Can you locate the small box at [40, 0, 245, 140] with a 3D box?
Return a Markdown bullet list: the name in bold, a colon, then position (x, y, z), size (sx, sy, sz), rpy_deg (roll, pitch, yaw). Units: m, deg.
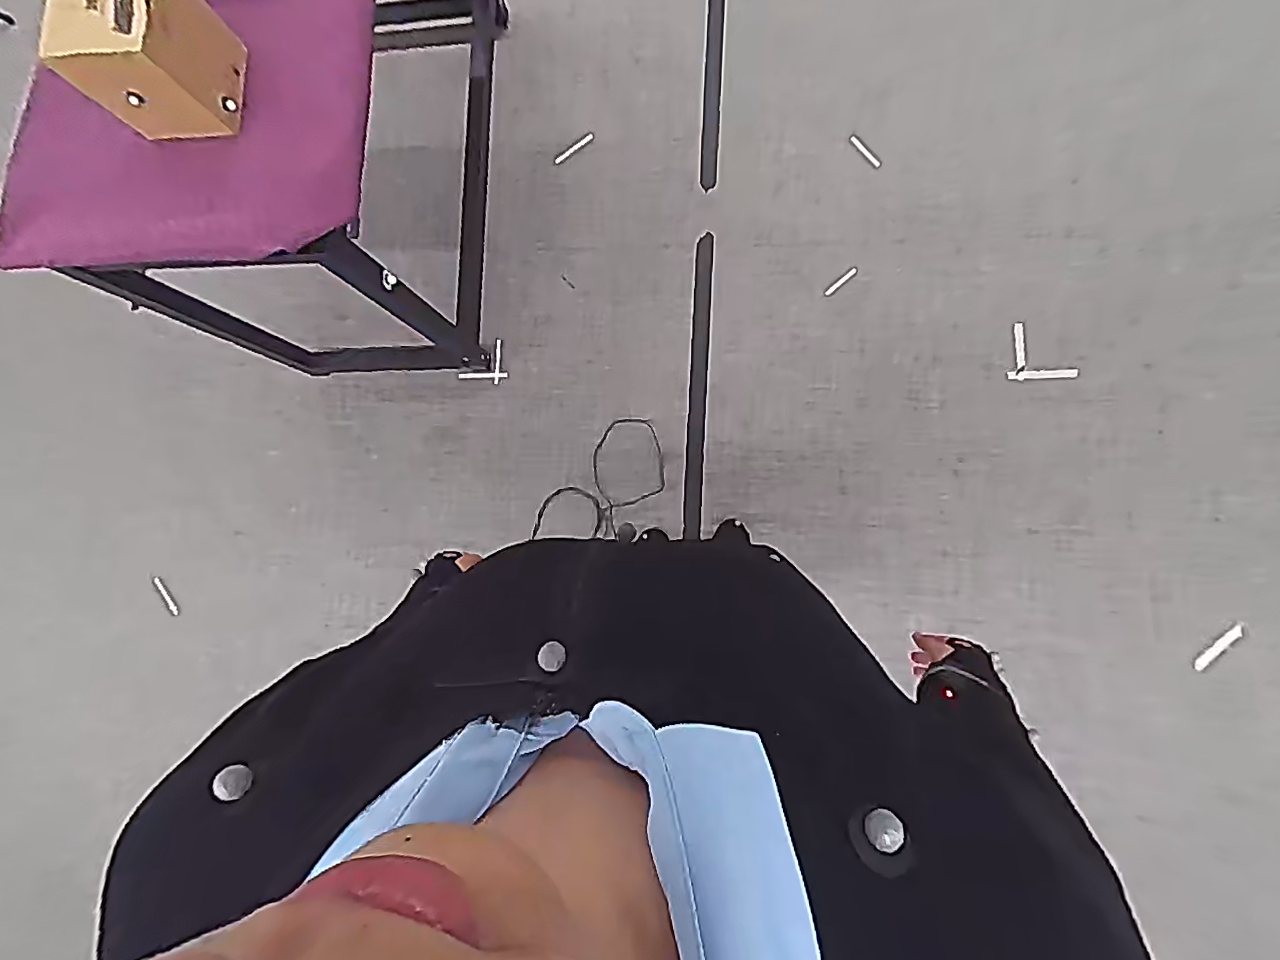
- **small box**: position (-0.784, -0.683, 0.871), size (0.179, 0.176, 0.168), rpy_deg (1, 84, 6)
